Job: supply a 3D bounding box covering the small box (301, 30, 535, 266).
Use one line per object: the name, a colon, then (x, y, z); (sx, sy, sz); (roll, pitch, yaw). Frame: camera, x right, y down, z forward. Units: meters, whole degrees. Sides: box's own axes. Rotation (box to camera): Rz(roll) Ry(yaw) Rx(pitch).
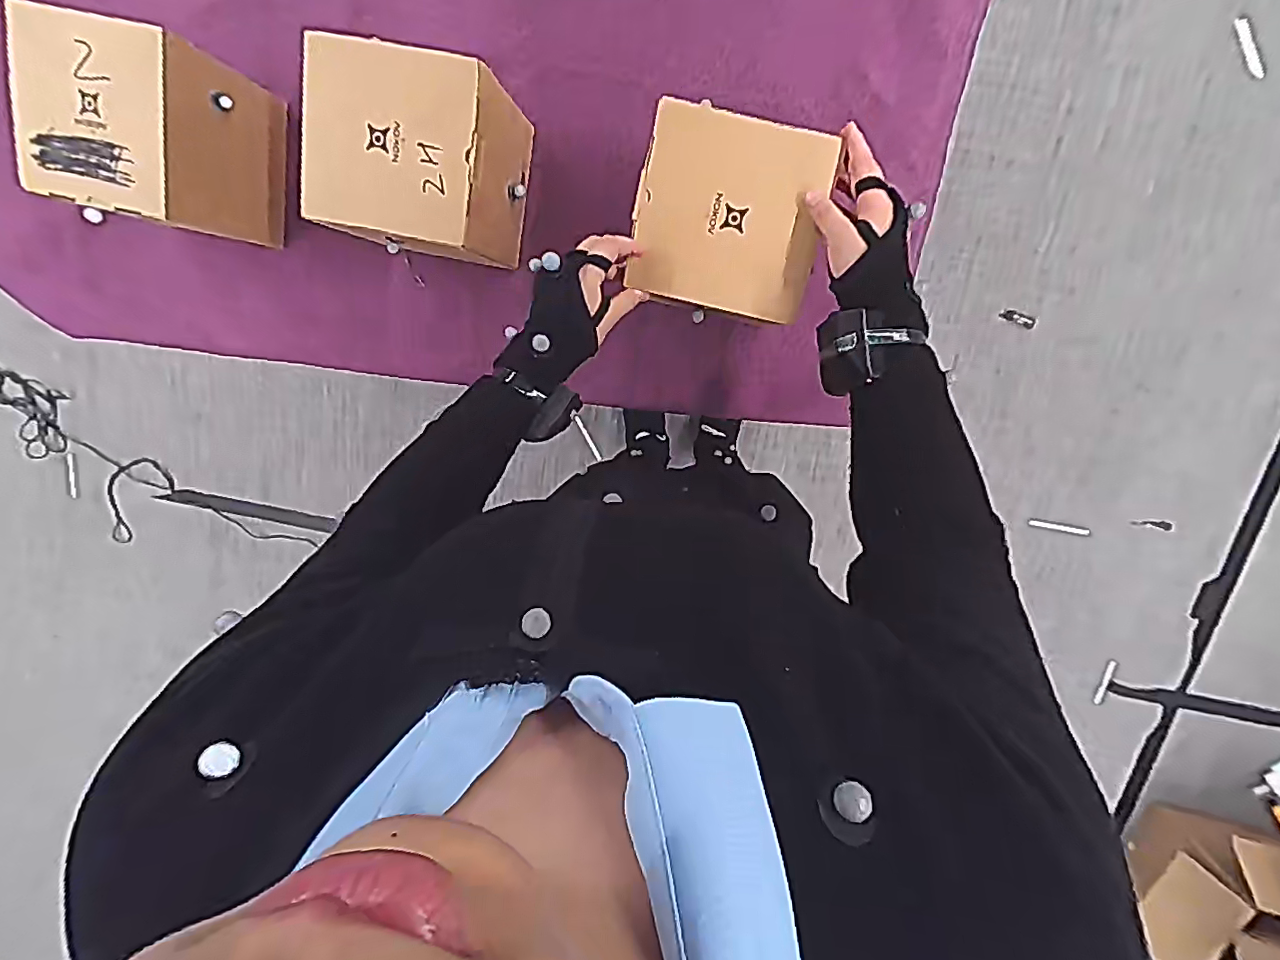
small box: (-0.233, -0.344, 0.597); (0.179, 0.176, 0.168); (12, 105, 2)
